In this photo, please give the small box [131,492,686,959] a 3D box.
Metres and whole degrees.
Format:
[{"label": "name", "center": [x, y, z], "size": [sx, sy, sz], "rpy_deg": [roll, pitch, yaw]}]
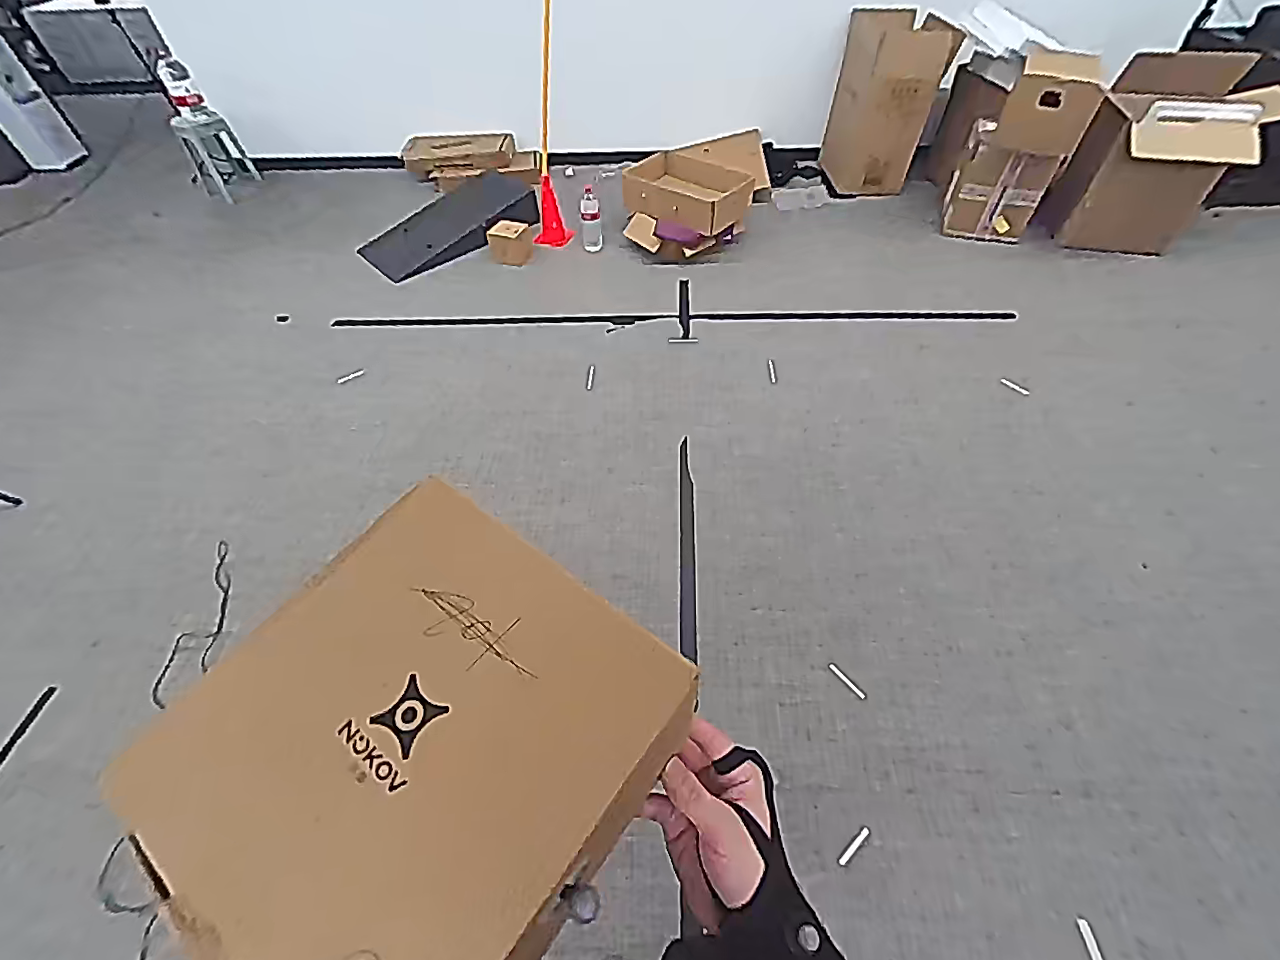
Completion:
[{"label": "small box", "center": [-0.088, 0.146, 0.291], "size": [0.168, 0.176, 0.179], "rpy_deg": [30, 63, 20]}]
